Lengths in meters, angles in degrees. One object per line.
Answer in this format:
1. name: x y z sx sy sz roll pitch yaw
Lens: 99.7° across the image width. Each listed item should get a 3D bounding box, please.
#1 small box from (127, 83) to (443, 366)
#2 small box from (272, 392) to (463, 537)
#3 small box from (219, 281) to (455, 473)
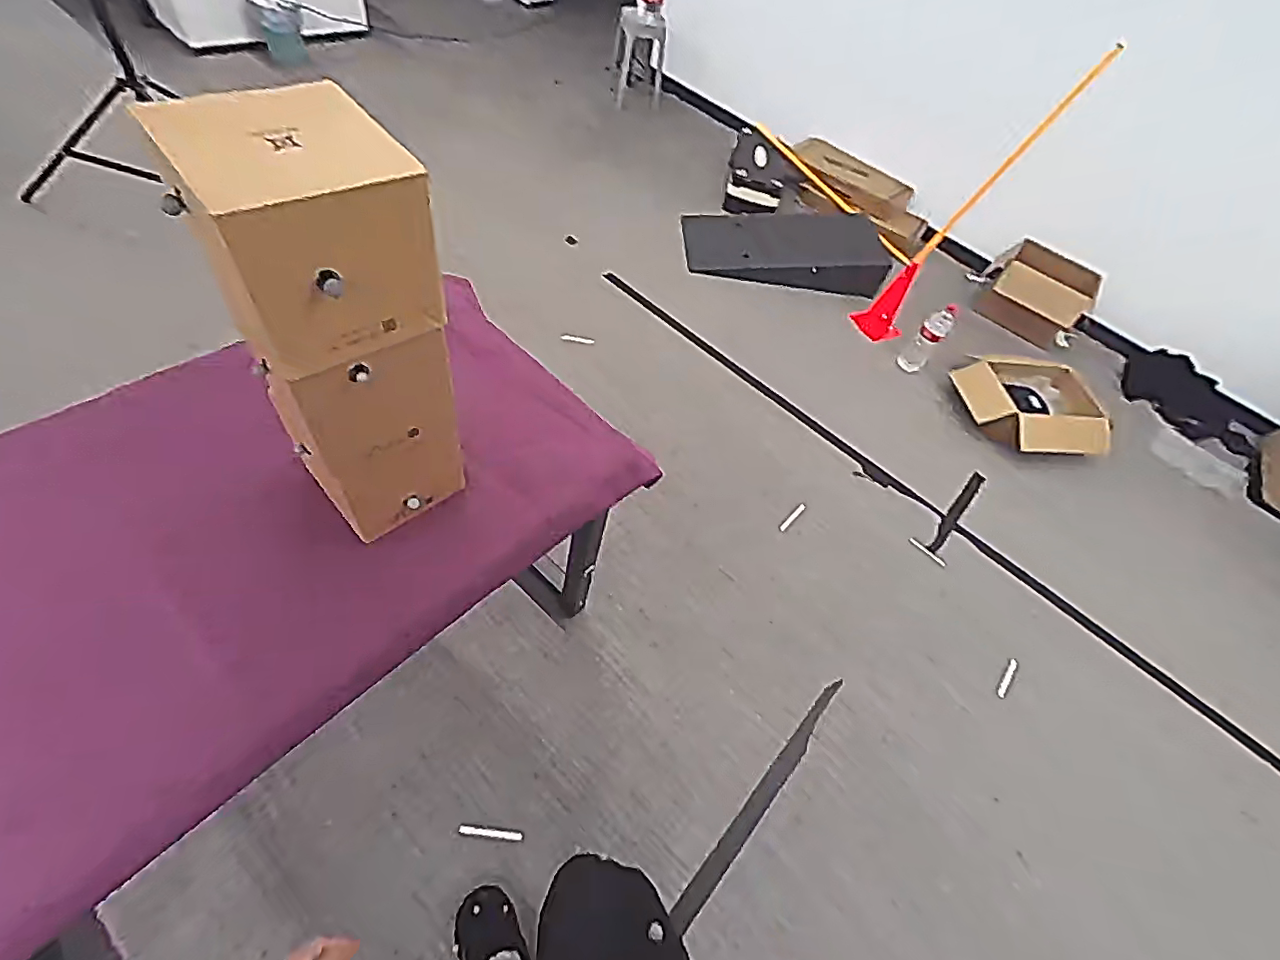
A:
1. small box: -0.307 -0.230 0.506 0.168 0.176 0.179 -34 68 -29
2. small box: -0.375 -0.051 0.772 0.168 0.176 0.179 -36 70 -30
3. small box: -0.342 -0.141 0.639 0.168 0.176 0.179 -33 67 -29
